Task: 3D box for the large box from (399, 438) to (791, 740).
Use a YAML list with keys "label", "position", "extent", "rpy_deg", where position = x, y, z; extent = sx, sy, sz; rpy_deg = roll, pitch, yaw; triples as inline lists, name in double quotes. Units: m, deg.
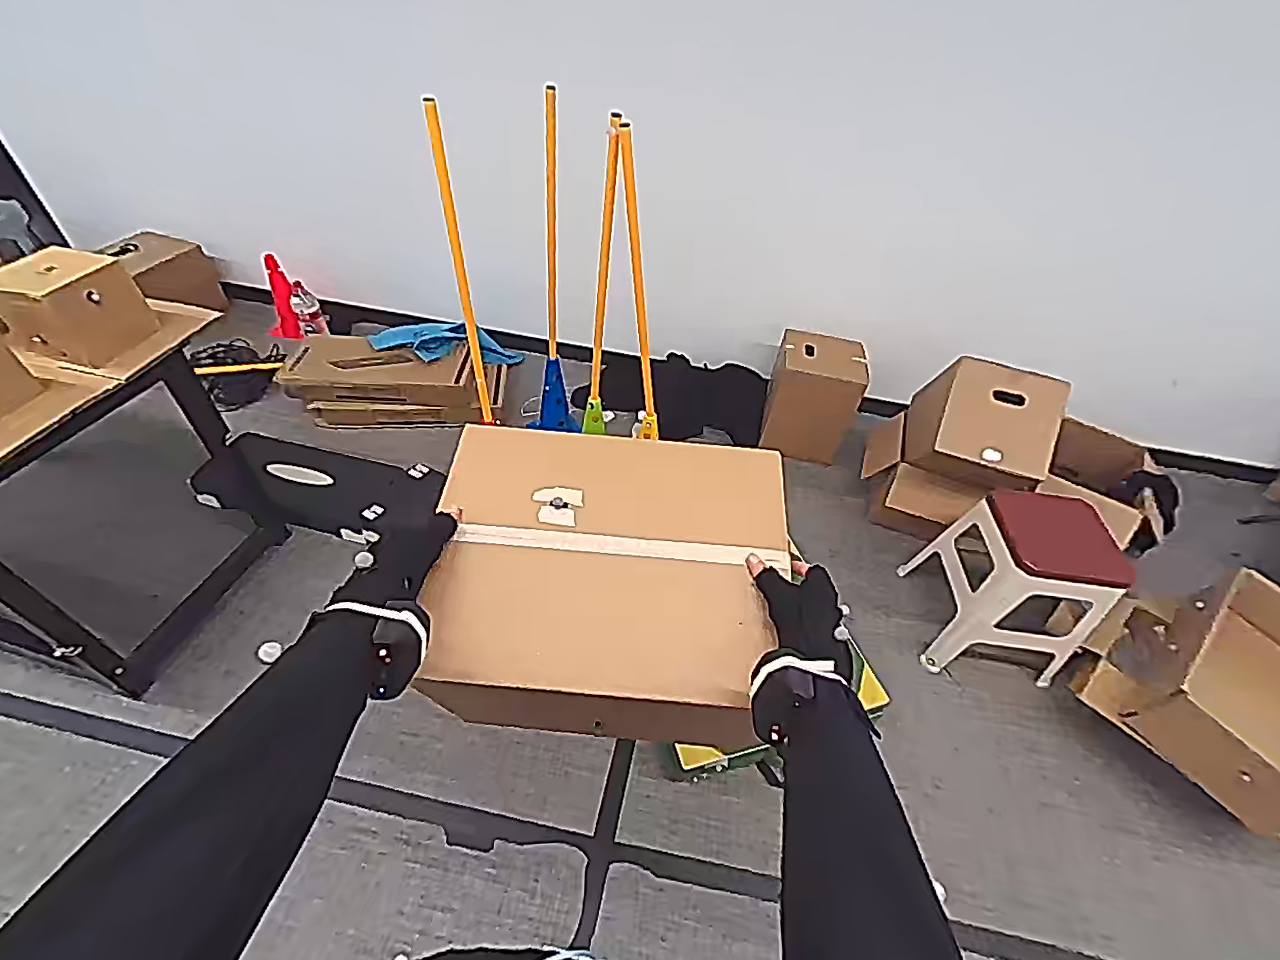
- label: "large box"
  position: [-0.040, 0.165, 0.746]
  extent: [0.408, 0.320, 0.320]
  rpy_deg: [5, 57, 1]
